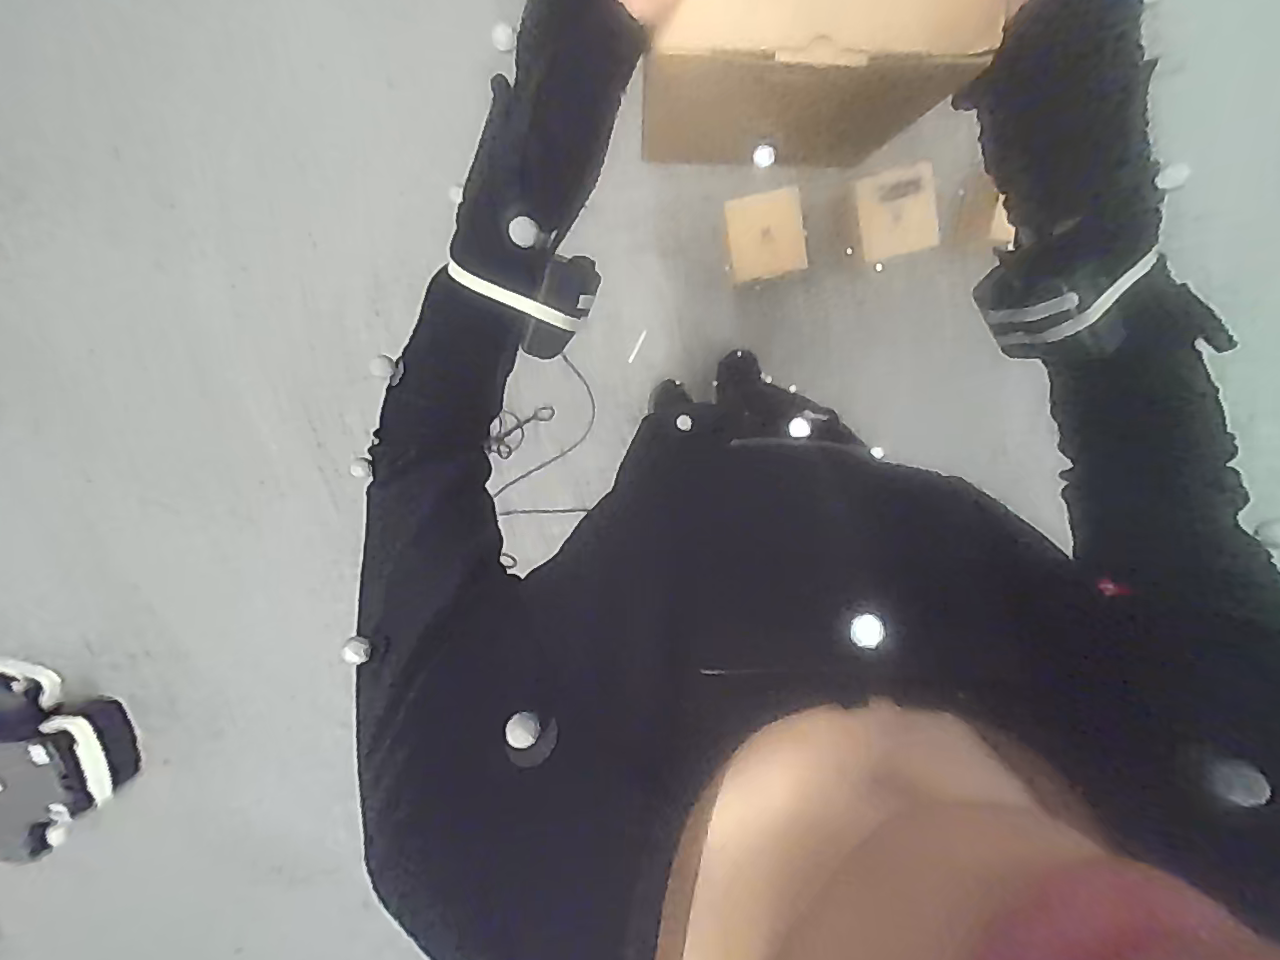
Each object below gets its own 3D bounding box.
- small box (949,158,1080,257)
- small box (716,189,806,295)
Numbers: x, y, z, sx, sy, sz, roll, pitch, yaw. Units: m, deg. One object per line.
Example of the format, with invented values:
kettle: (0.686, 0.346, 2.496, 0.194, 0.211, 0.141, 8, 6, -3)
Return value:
small box: (0.845, -0.617, 1.241, 0.179, 0.176, 0.168, 2, 102, 0)
small box: (0.279, -0.553, 1.277, 0.168, 0.176, 0.179, -11, 101, 5)
